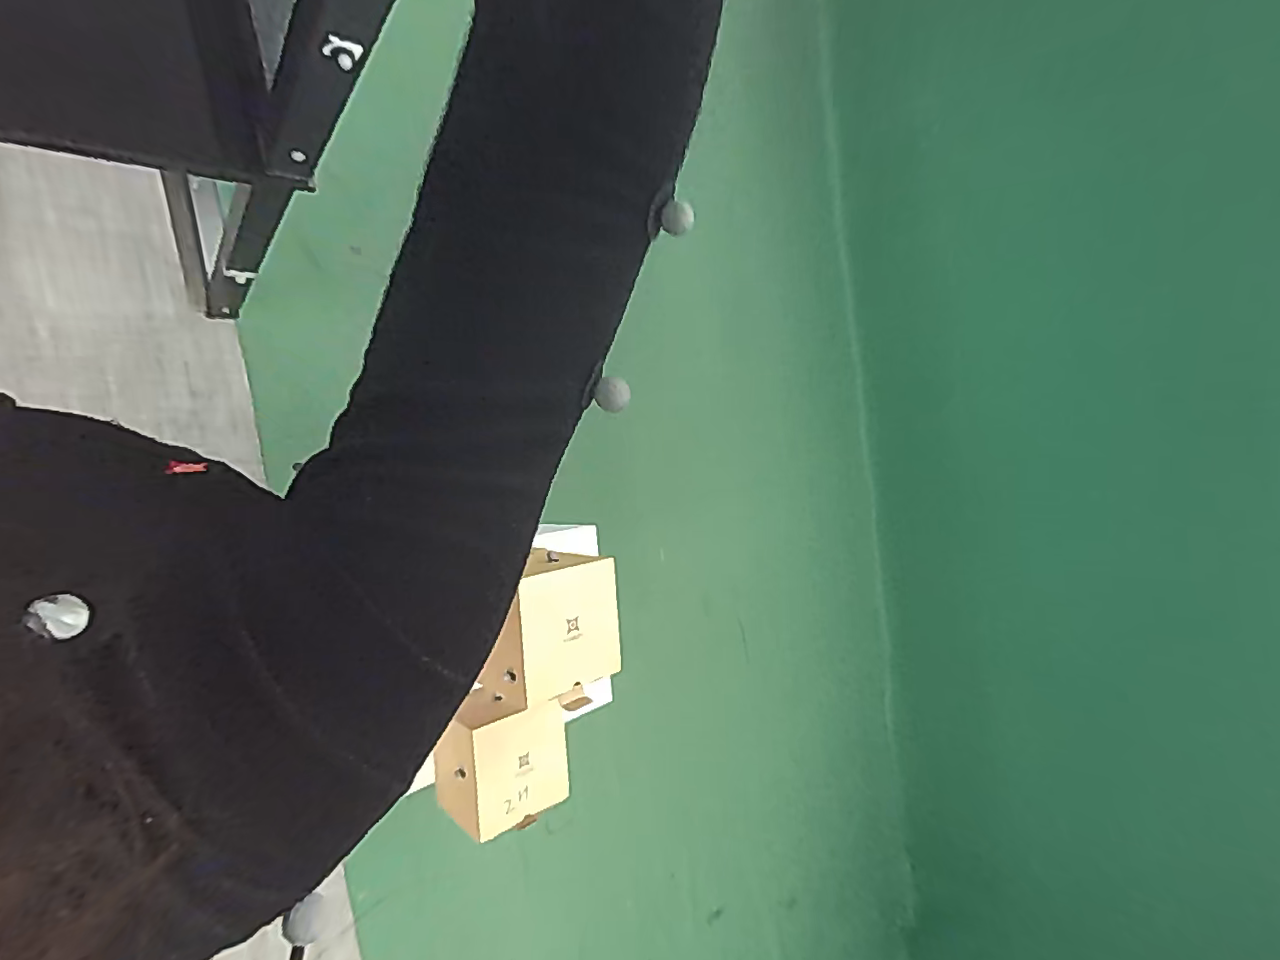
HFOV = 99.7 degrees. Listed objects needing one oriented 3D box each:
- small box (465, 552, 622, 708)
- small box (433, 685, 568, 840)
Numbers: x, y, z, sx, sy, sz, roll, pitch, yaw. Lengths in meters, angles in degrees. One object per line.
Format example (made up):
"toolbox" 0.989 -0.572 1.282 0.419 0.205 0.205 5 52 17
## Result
"small box" -0.148 0.206 0.807 0.168 0.176 0.179 -7 94 -43
"small box" -0.242 0.460 0.927 0.168 0.176 0.179 -3 90 -42
